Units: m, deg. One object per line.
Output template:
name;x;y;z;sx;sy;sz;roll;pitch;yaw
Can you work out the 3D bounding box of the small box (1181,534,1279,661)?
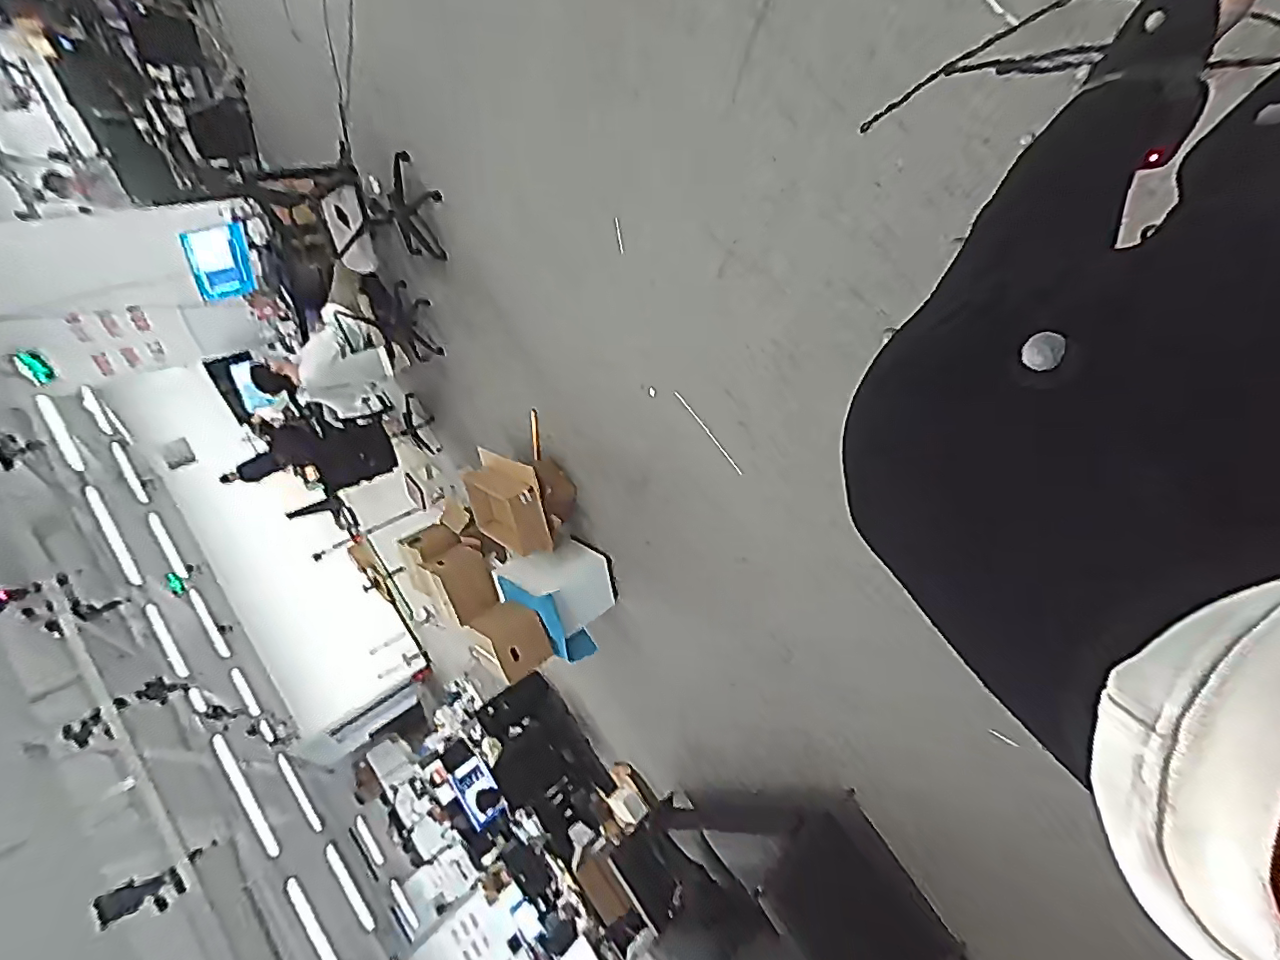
small box;1.226;0.227;1.059;0.168;0.176;0.179;55;144;6
